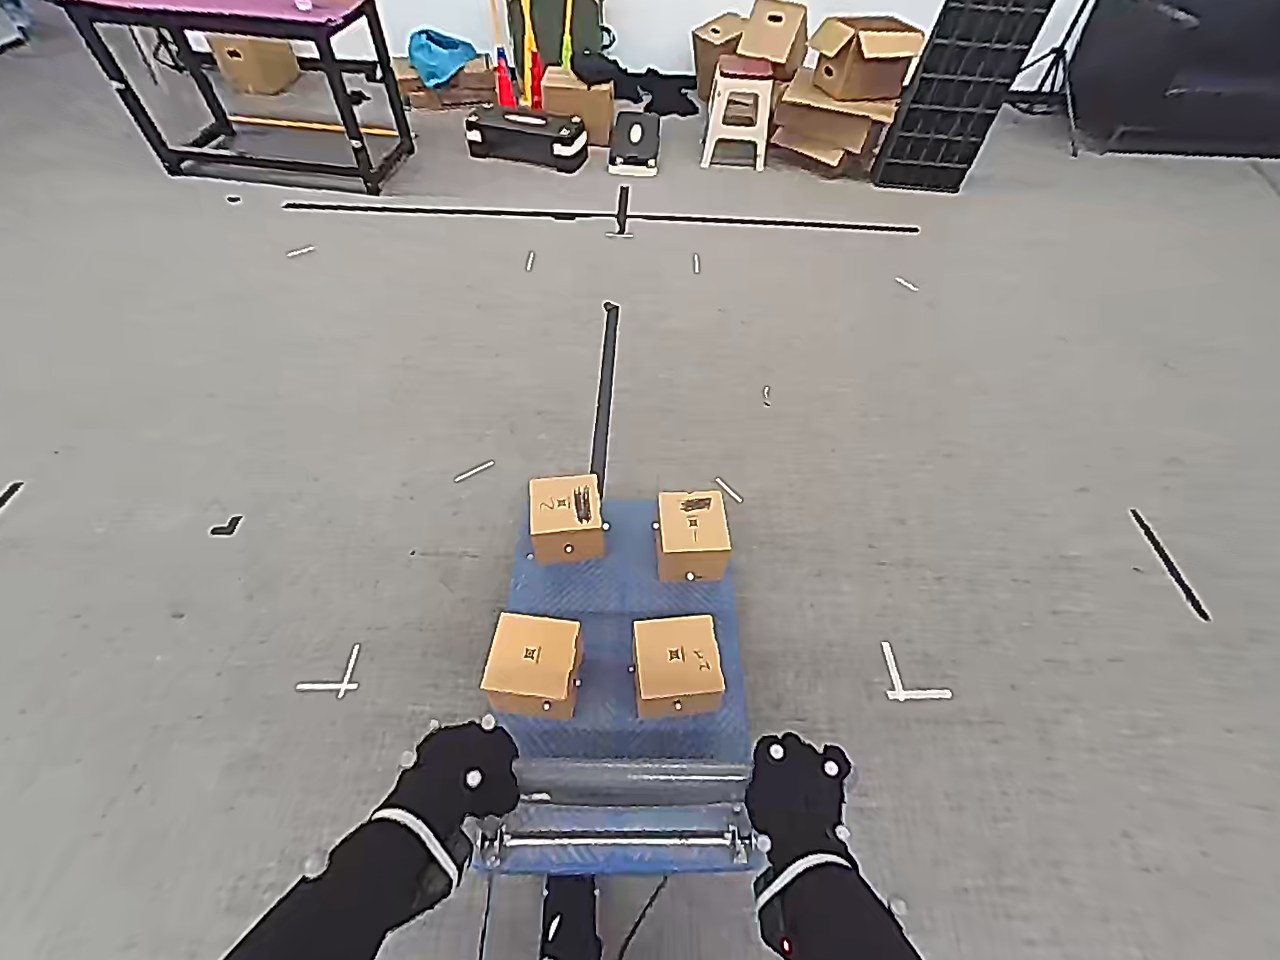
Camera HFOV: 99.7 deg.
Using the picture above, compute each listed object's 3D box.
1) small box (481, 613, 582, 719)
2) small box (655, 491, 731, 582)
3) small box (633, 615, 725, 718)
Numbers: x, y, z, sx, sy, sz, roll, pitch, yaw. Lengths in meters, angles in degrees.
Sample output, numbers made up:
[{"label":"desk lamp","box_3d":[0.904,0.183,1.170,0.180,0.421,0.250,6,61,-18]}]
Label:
[{"label":"small box","box_3d":[-0.228,0.410,1.182,0.179,0.176,0.168,7,52,1]},{"label":"small box","box_3d":[0.128,0.146,1.393,0.168,0.176,0.179,-2,54,-3]},{"label":"small box","box_3d":[0.077,0.414,1.191,0.179,0.176,0.168,-4,53,-5]}]
